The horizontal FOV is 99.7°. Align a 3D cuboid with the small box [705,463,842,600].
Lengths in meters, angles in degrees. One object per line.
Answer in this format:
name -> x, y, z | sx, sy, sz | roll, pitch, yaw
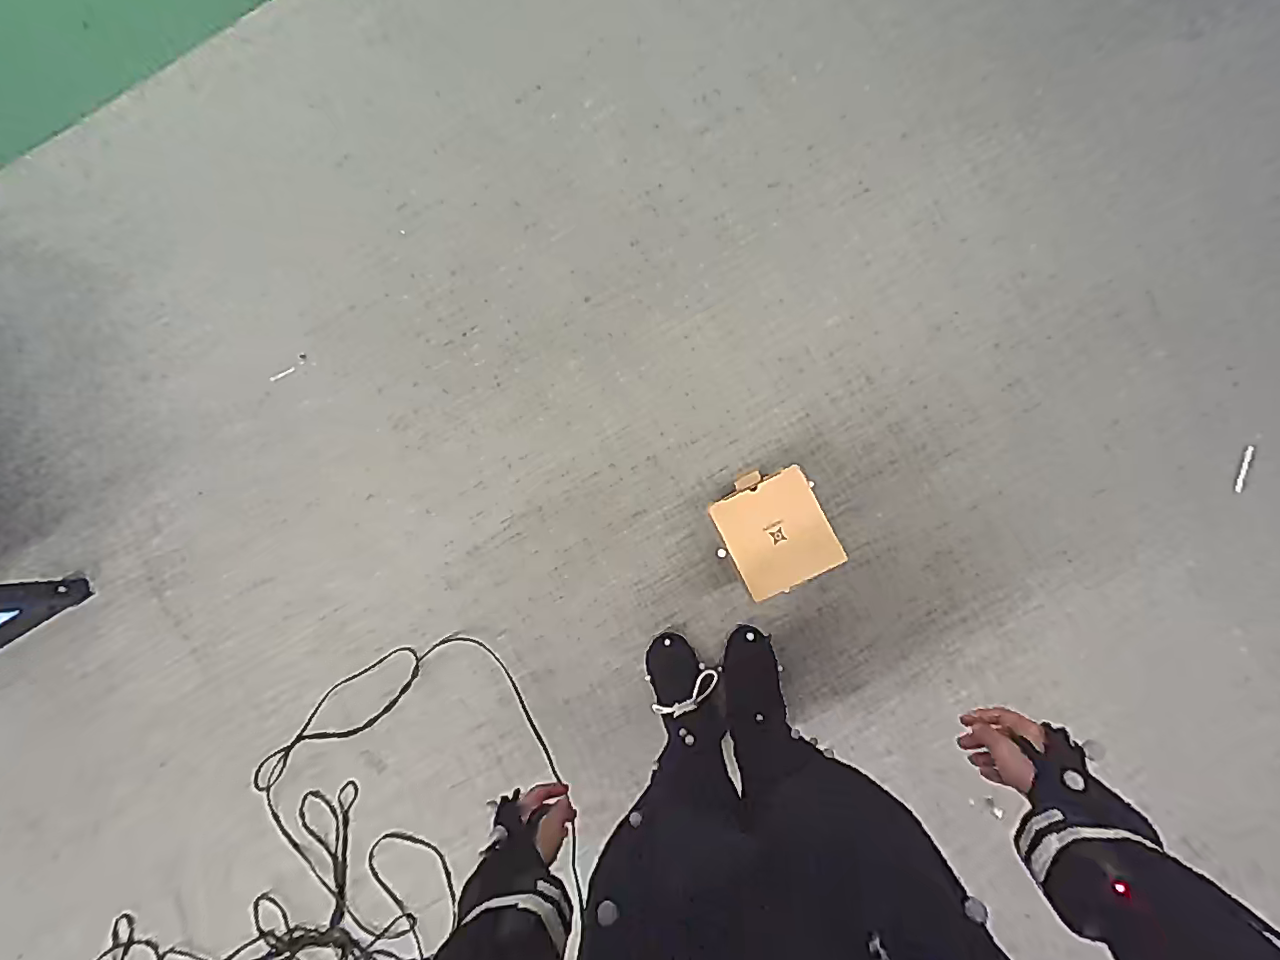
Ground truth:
small box -> 0.225, 0.090, 0.953 | 0.168, 0.176, 0.179 | -26, 81, 3
